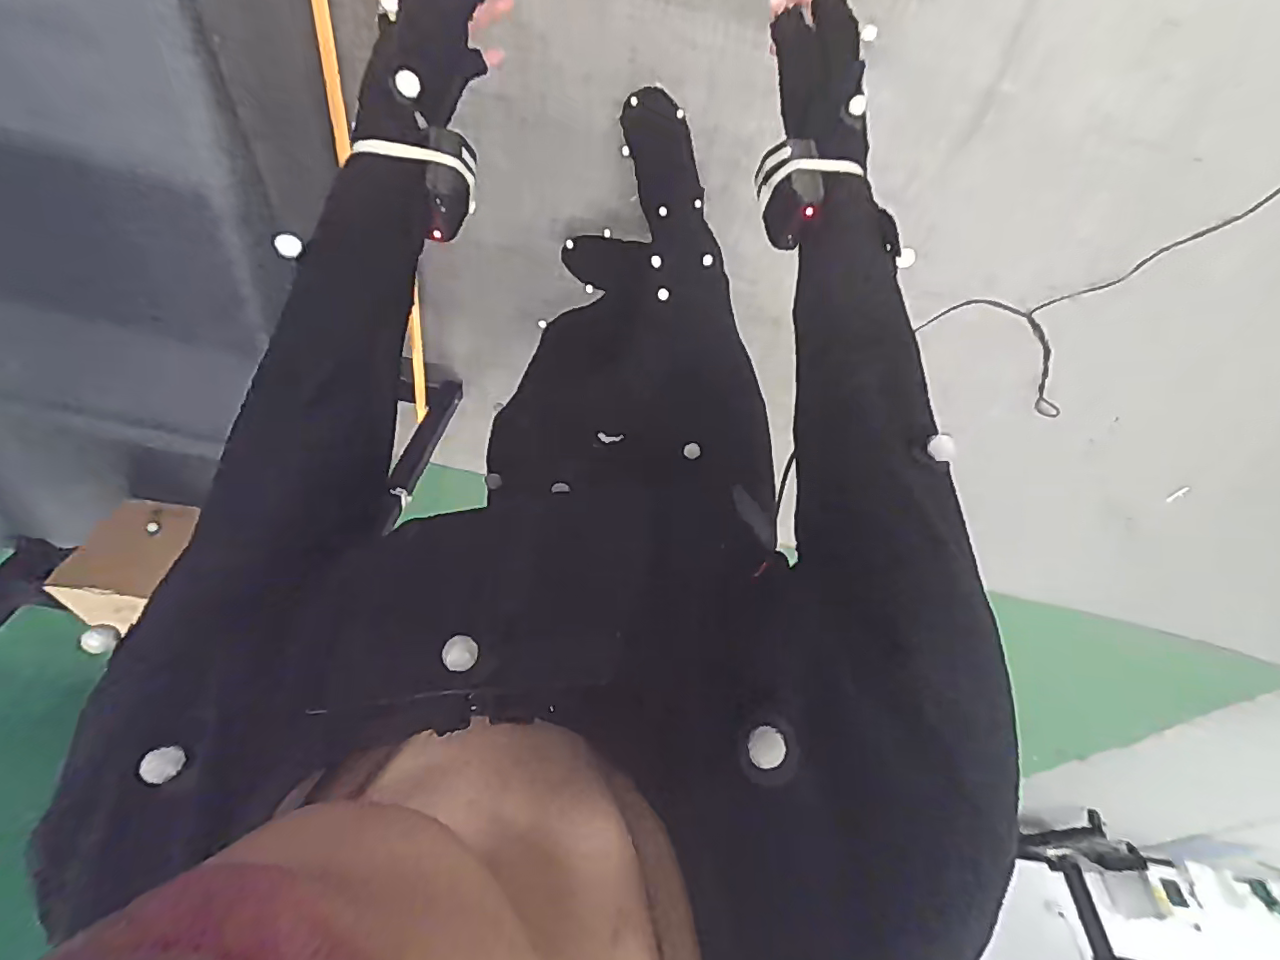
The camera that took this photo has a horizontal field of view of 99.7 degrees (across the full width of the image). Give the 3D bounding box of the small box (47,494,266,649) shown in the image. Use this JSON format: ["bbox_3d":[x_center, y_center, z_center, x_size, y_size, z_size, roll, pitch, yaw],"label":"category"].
[{"bbox_3d":[-0.759,0.149,0.879,0.168,0.176,0.179,8,136,-1],"label":"small box"}]
